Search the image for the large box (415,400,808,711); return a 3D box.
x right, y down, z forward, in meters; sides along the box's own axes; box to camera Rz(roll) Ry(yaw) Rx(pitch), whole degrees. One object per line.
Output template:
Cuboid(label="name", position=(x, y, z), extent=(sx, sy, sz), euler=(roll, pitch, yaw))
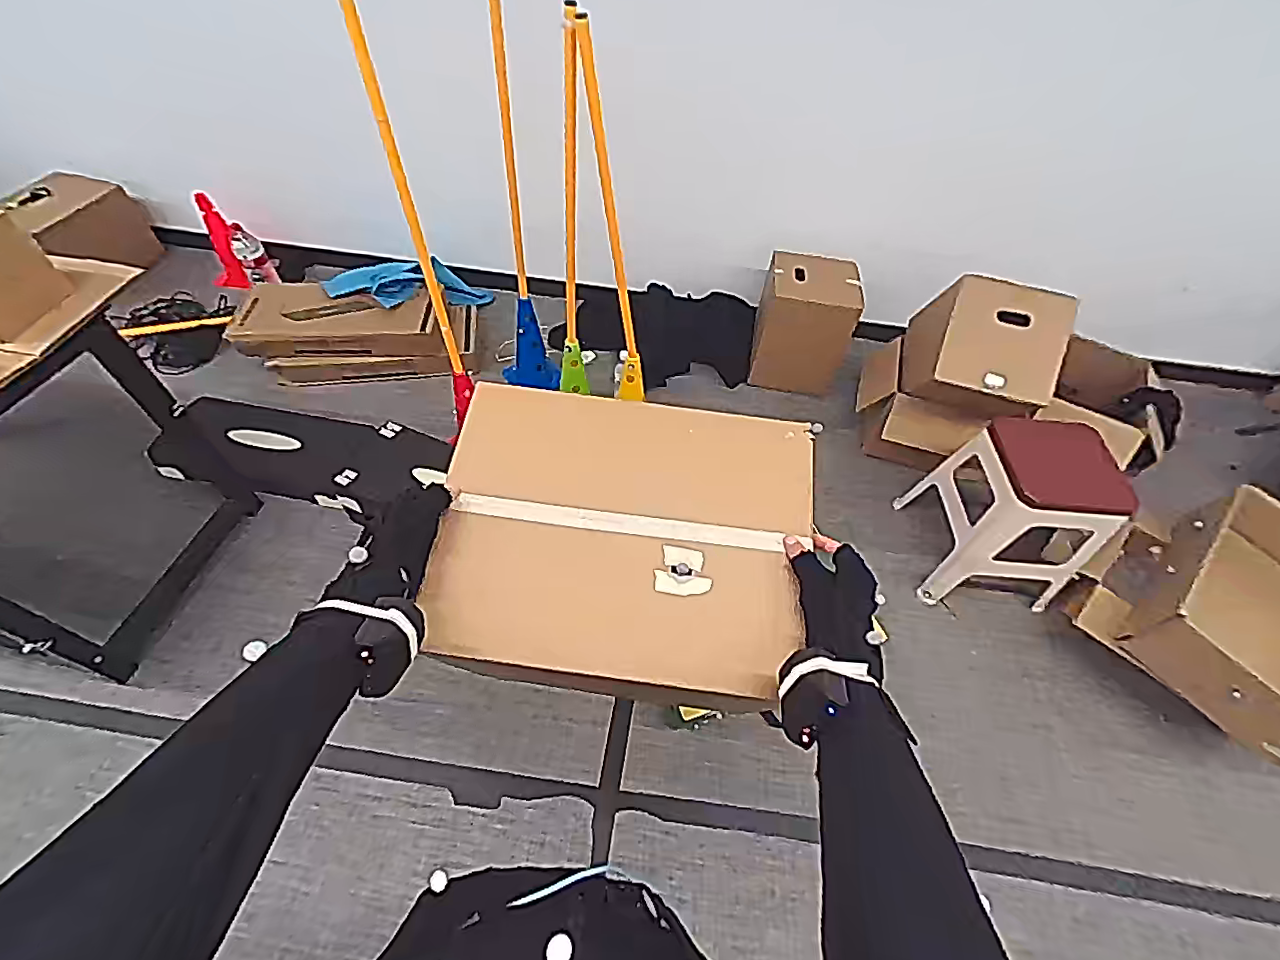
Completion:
Cuboid(label="large box", position=(-0.022, 0.122, 0.734), extent=(0.408, 0.320, 0.320), euler=(7, 65, 1))
